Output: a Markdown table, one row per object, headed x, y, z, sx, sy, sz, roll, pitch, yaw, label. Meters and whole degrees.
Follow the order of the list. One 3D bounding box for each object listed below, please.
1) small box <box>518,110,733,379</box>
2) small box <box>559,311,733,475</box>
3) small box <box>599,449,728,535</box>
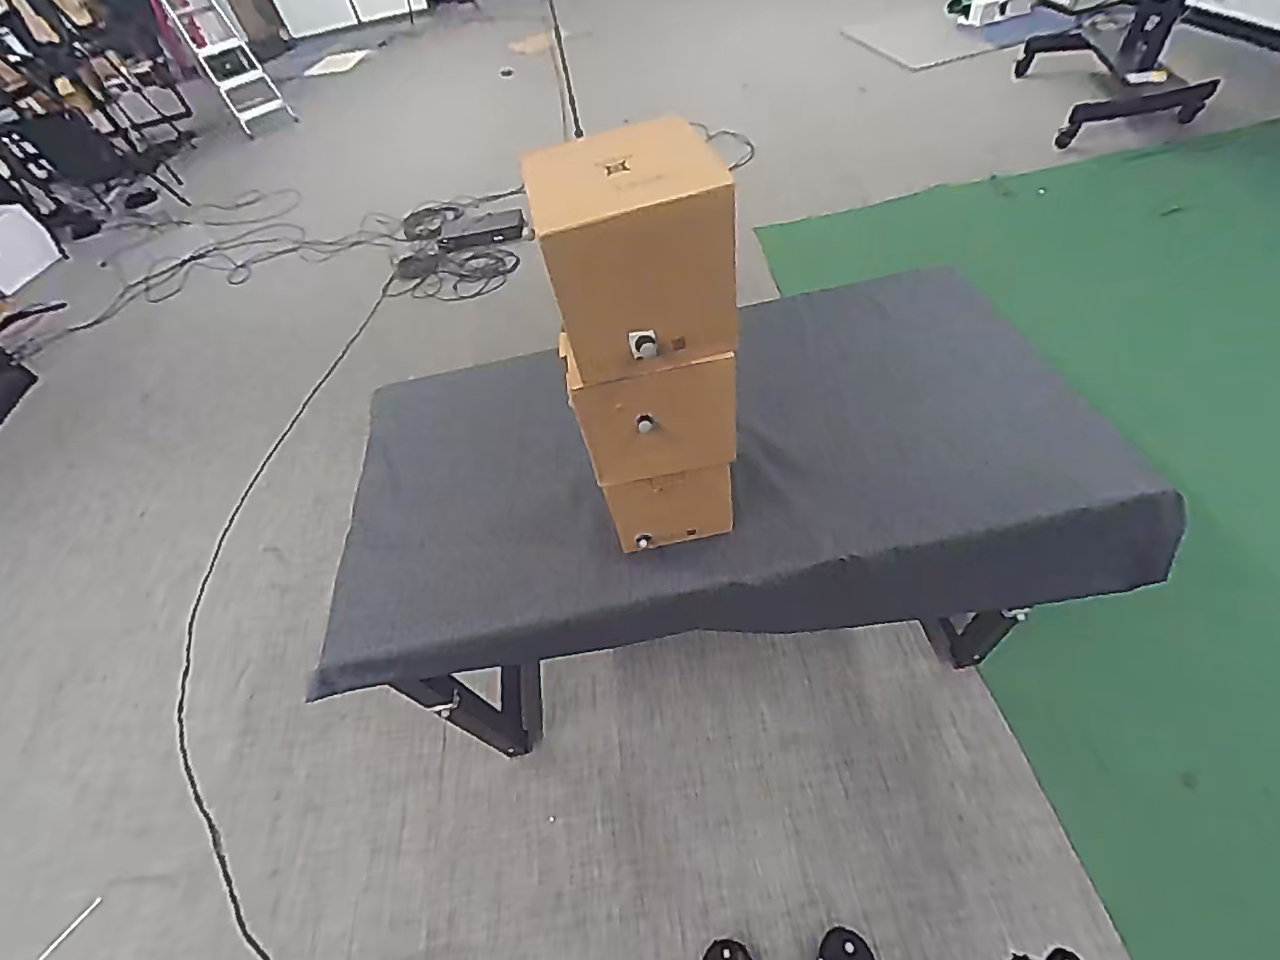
| x | y | z | sx | sy | sz | roll | pitch | yaw | label |
| --- | --- | --- | --- | --- | --- | --- | --- | --- | --- |
| -0.012 | -0.233 | 0.546 | 0.168 | 0.176 | 0.179 | -17 | 52 | -1 | small box |
| 0.010 | -0.128 | 0.672 | 0.179 | 0.176 | 0.168 | -14 | 49 | 0 | small box |
| 0.031 | -0.035 | 0.801 | 0.168 | 0.176 | 0.179 | -12 | 50 | 2 | small box |
